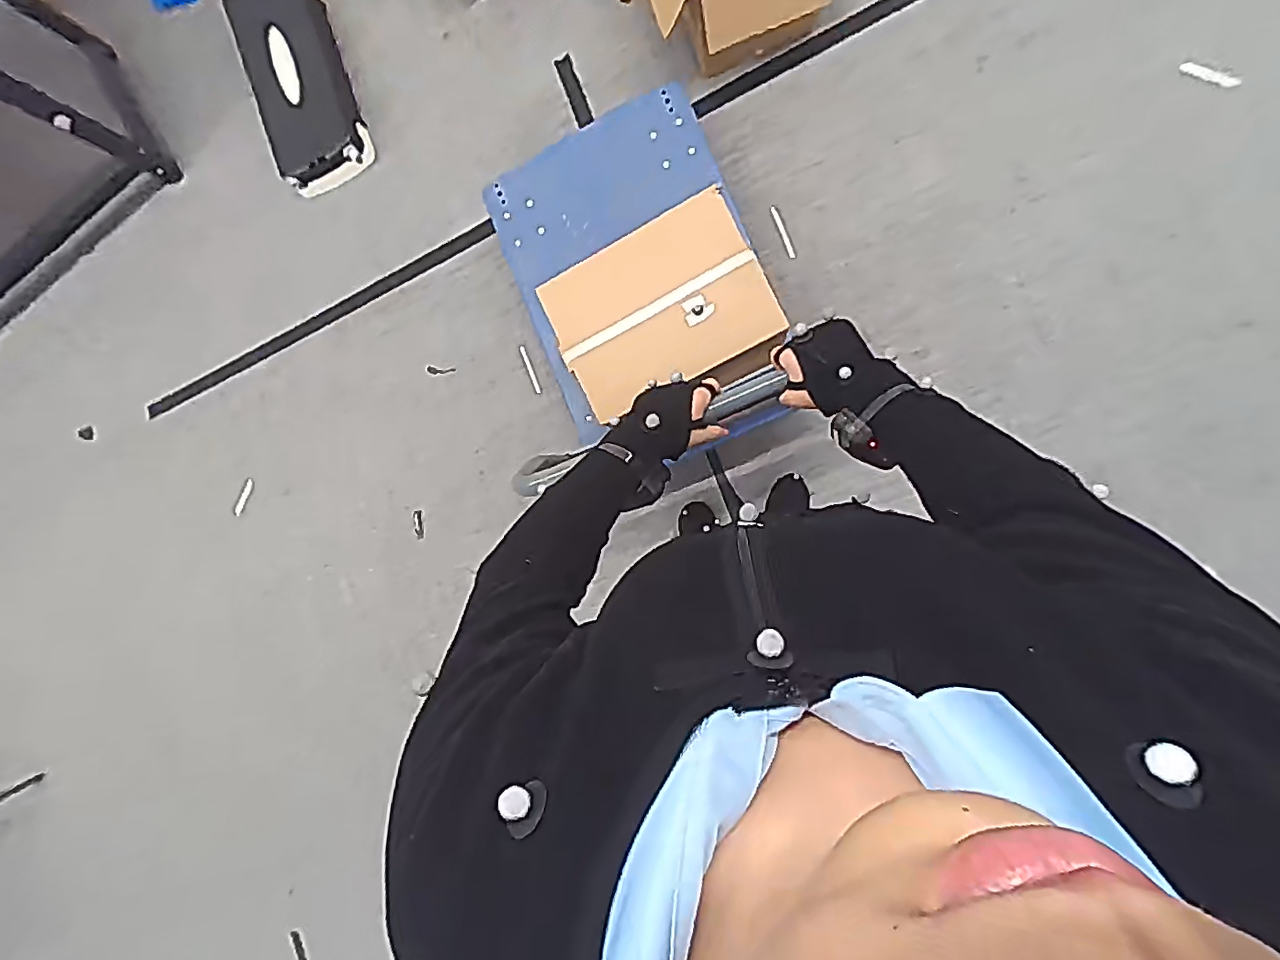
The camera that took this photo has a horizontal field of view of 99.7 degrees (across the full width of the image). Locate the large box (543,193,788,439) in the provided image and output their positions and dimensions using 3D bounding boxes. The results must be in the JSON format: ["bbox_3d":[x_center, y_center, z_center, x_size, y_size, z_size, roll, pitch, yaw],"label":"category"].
[{"bbox_3d":[0.064,-0.325,1.197,0.408,0.320,0.320,-27,86,8],"label":"large box"}]
